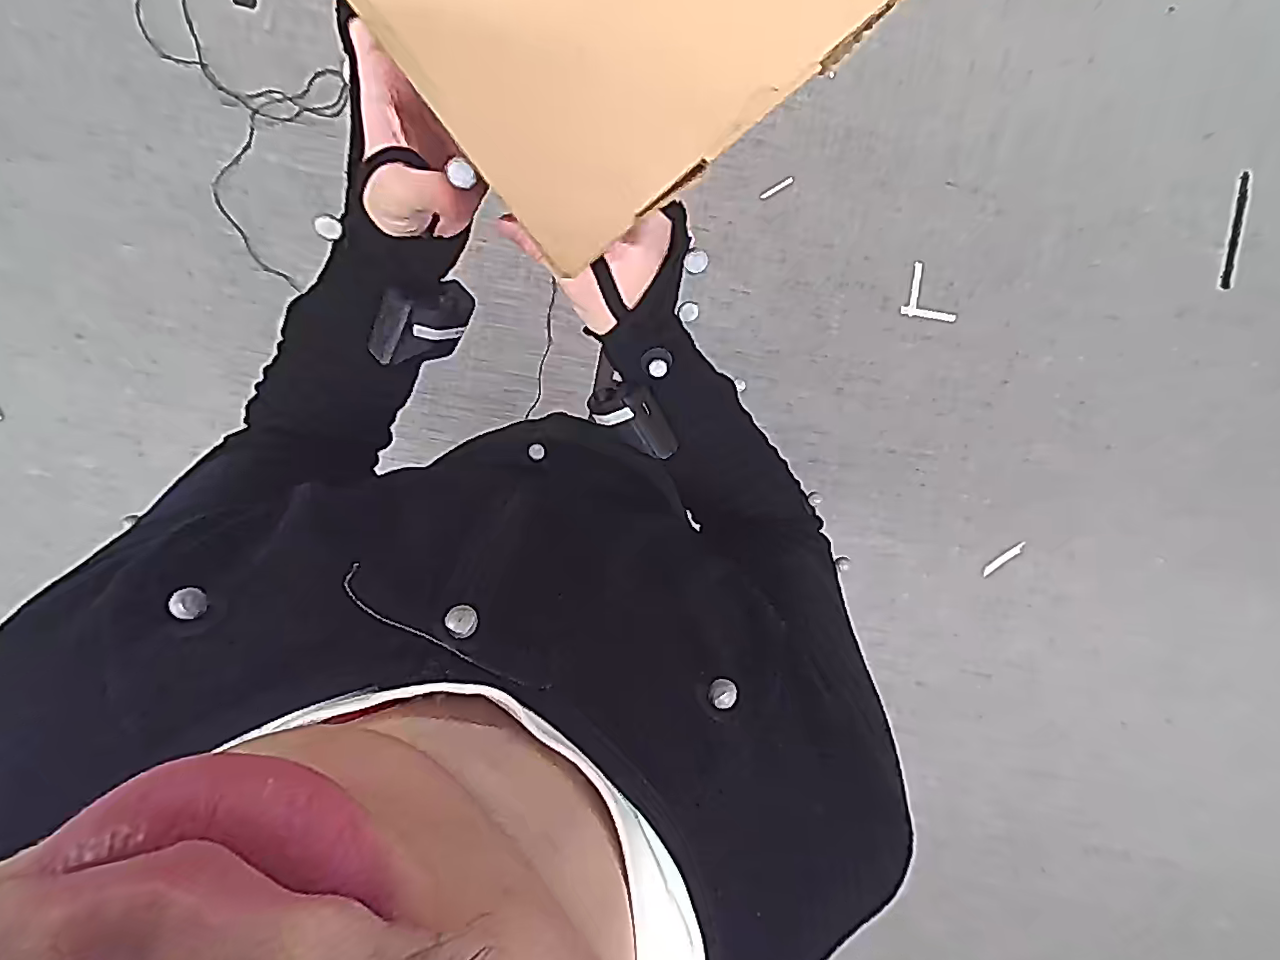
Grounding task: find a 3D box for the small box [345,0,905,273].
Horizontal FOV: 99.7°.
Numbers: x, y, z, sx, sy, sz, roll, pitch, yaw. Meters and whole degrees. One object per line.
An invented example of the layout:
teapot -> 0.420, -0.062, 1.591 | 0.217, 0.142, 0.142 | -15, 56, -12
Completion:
small box -> -0.029, -0.217, 0.205 | 0.168, 0.176, 0.179 | -38, 123, 9
